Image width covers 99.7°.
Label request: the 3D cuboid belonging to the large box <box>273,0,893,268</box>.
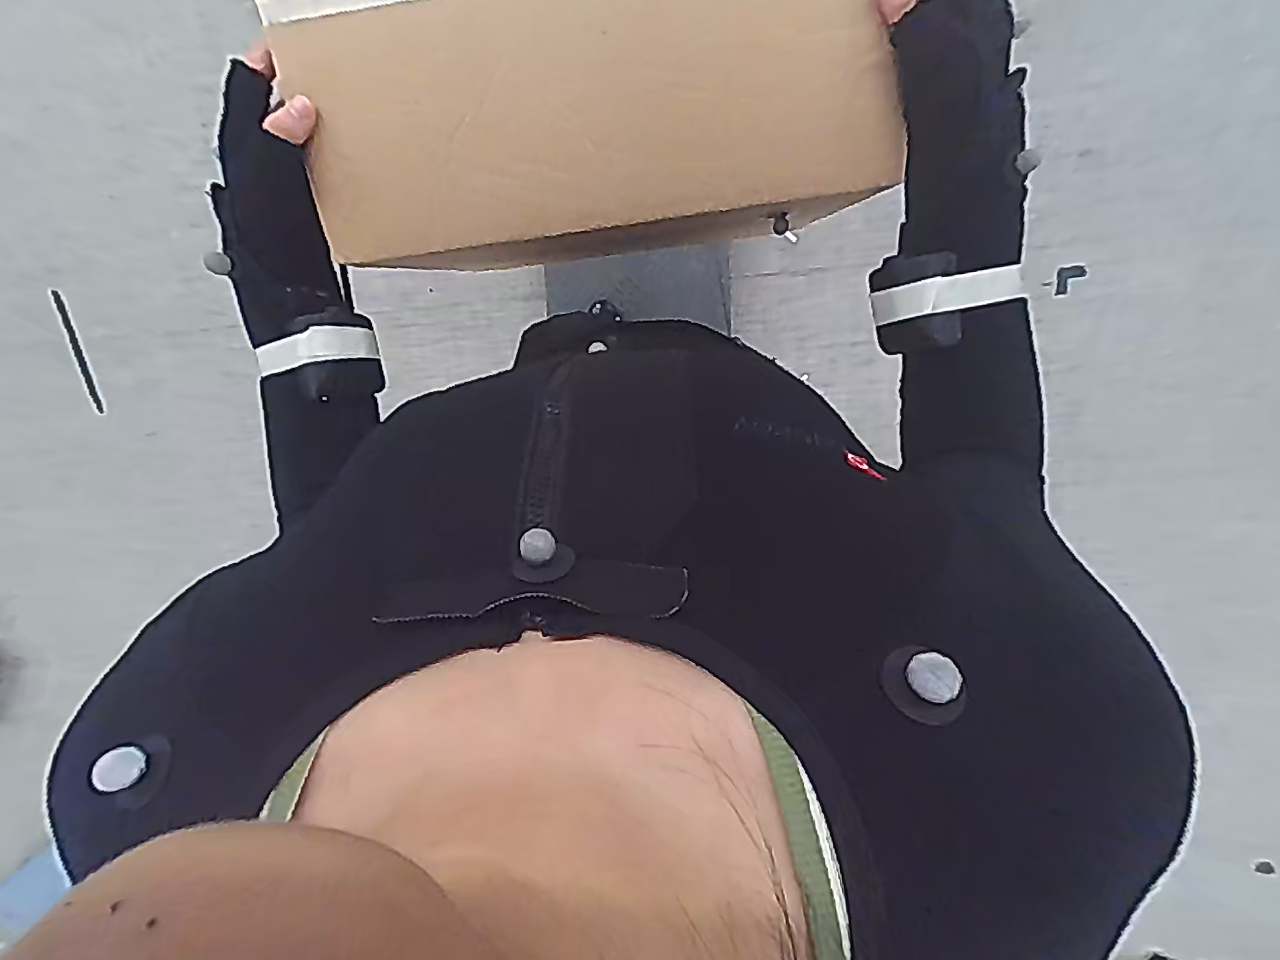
[{"bbox_3d":[-0.035,-0.378,0.478,0.408,0.320,0.320,-6,109,5],"label":"large box"}]
